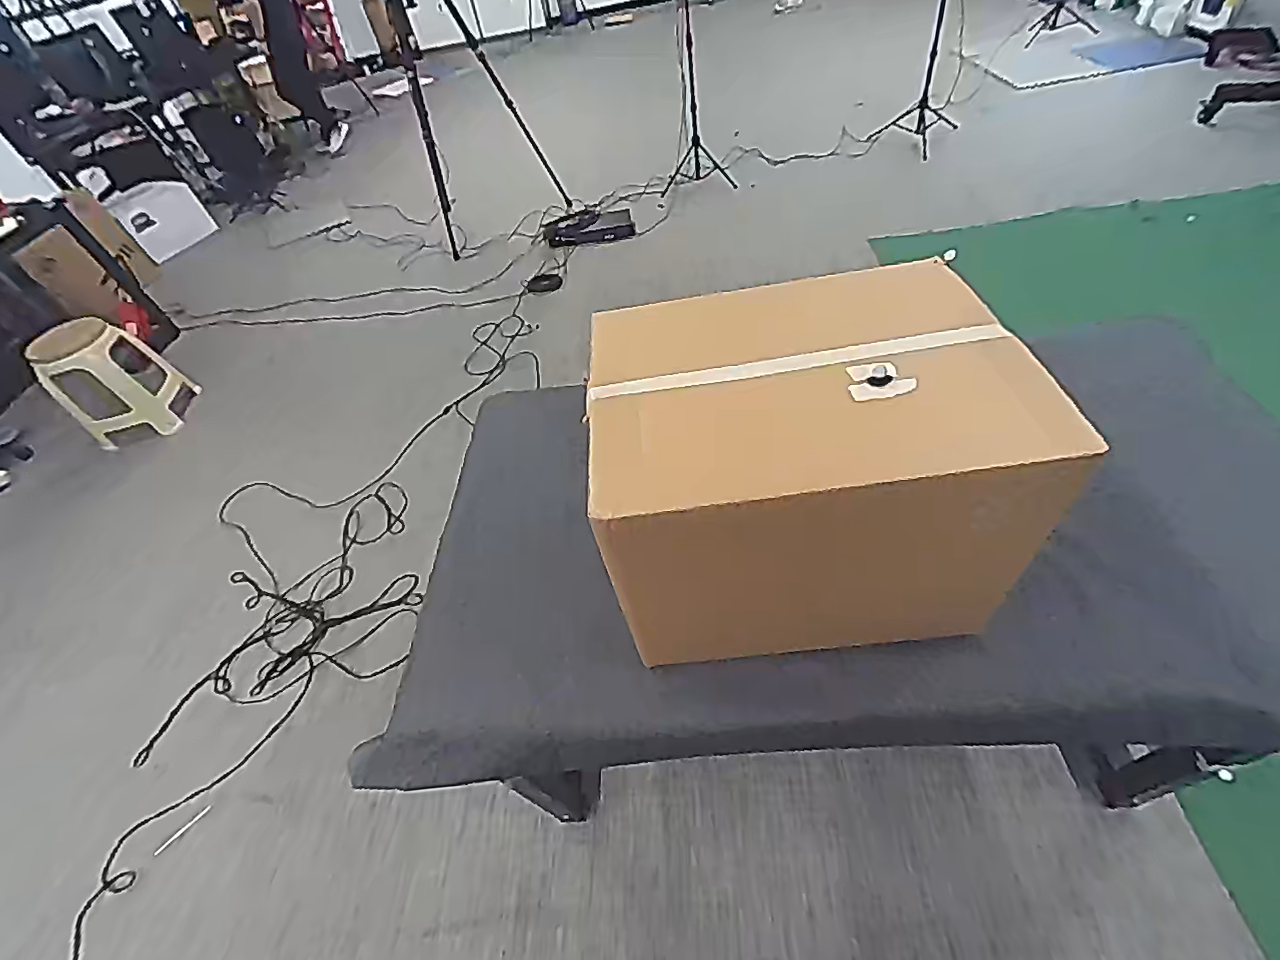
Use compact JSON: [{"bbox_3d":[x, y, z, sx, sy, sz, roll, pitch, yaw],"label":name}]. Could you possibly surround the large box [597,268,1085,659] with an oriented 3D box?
[{"bbox_3d":[0.171,-0.010,0.650,0.408,0.320,0.320,-7,49,4],"label":"large box"}]
